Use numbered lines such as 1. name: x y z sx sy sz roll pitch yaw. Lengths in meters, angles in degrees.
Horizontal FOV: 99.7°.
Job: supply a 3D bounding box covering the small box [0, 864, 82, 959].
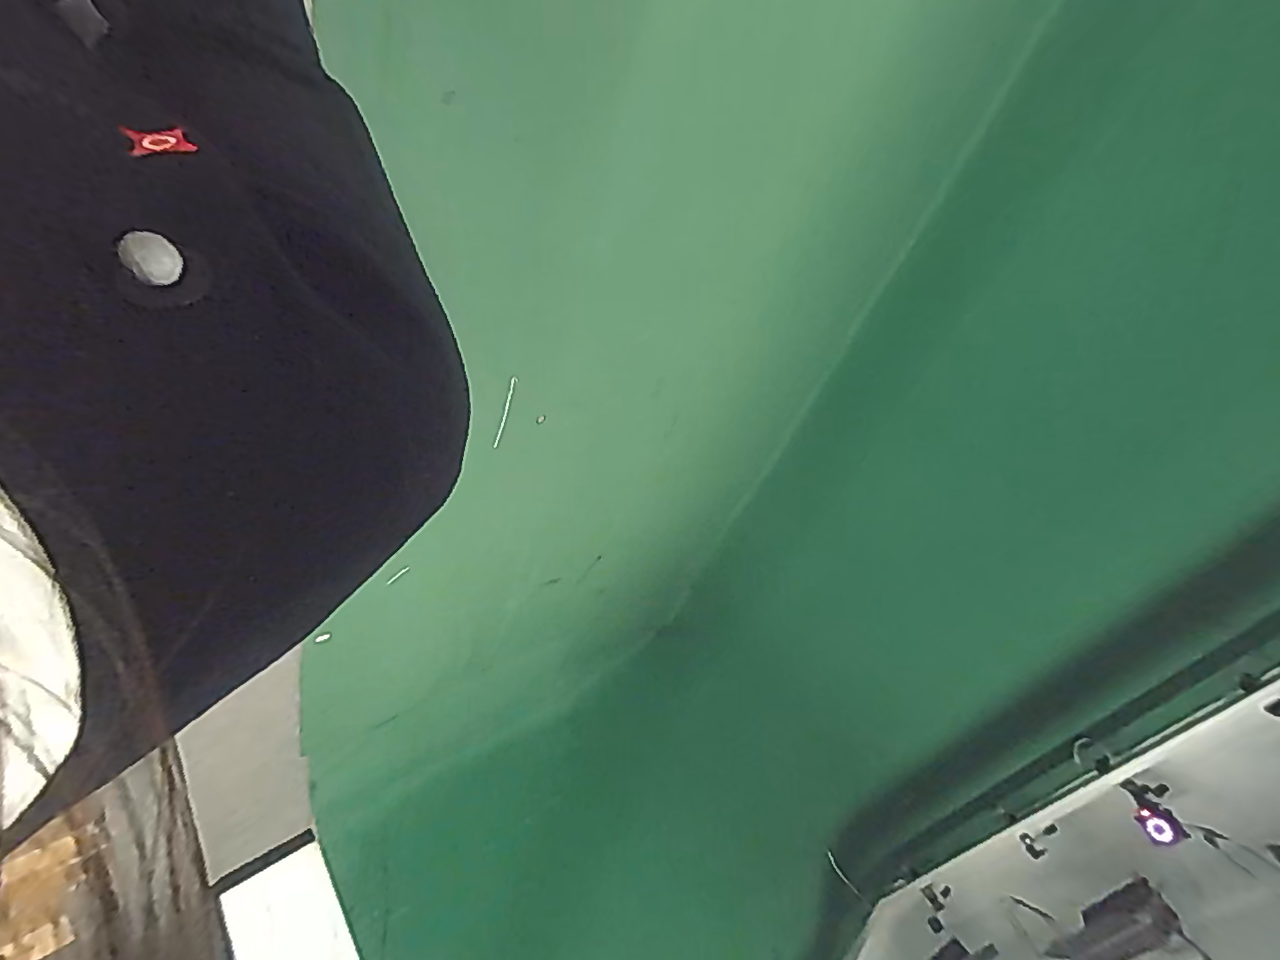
1. small box: -1.710 1.243 1.522 0.179 0.176 0.168 -9 131 -48
